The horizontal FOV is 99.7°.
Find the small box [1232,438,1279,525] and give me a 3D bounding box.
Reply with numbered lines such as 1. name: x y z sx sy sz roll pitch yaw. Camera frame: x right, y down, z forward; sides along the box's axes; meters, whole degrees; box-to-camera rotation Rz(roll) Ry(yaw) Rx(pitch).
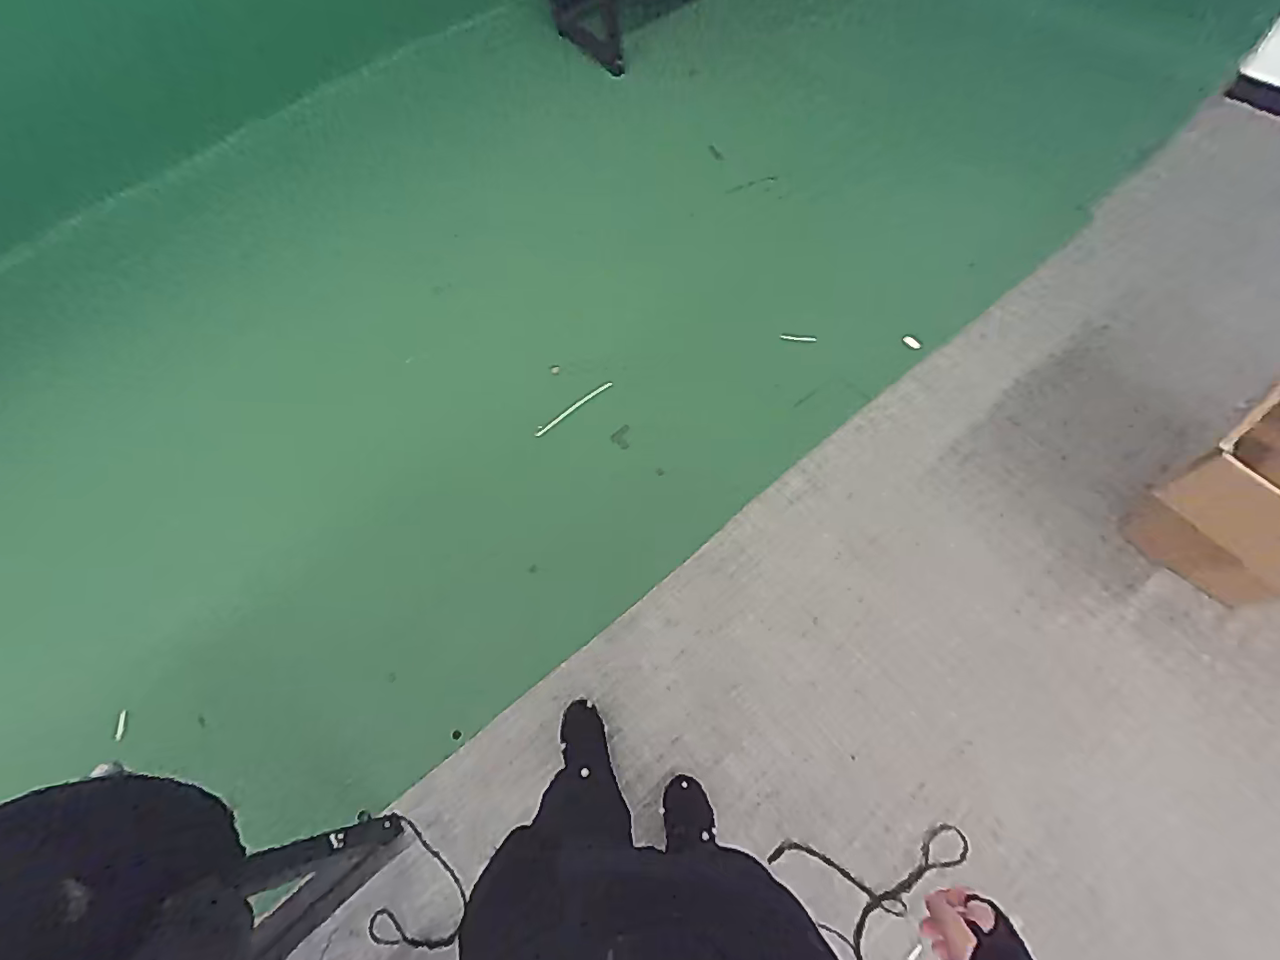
1. small box: 1.310 -0.011 1.026 0.179 0.176 0.168 -34 68 -11
